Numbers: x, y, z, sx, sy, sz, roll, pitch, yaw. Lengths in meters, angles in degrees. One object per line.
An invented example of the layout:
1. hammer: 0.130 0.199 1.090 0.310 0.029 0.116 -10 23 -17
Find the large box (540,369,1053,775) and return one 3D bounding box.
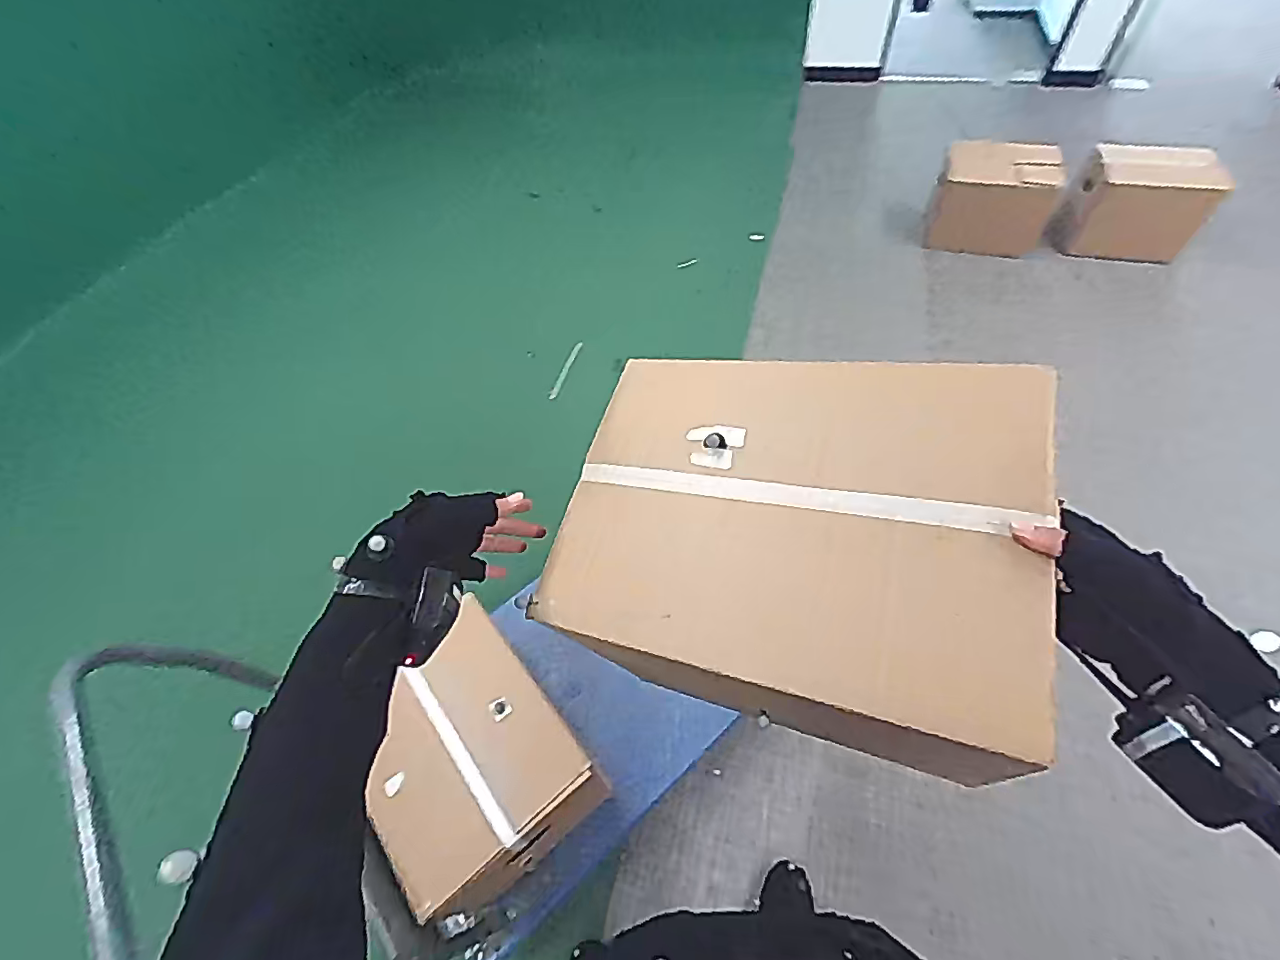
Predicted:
1. large box: 0.178 0.095 0.597 0.408 0.320 0.320 7 63 28
